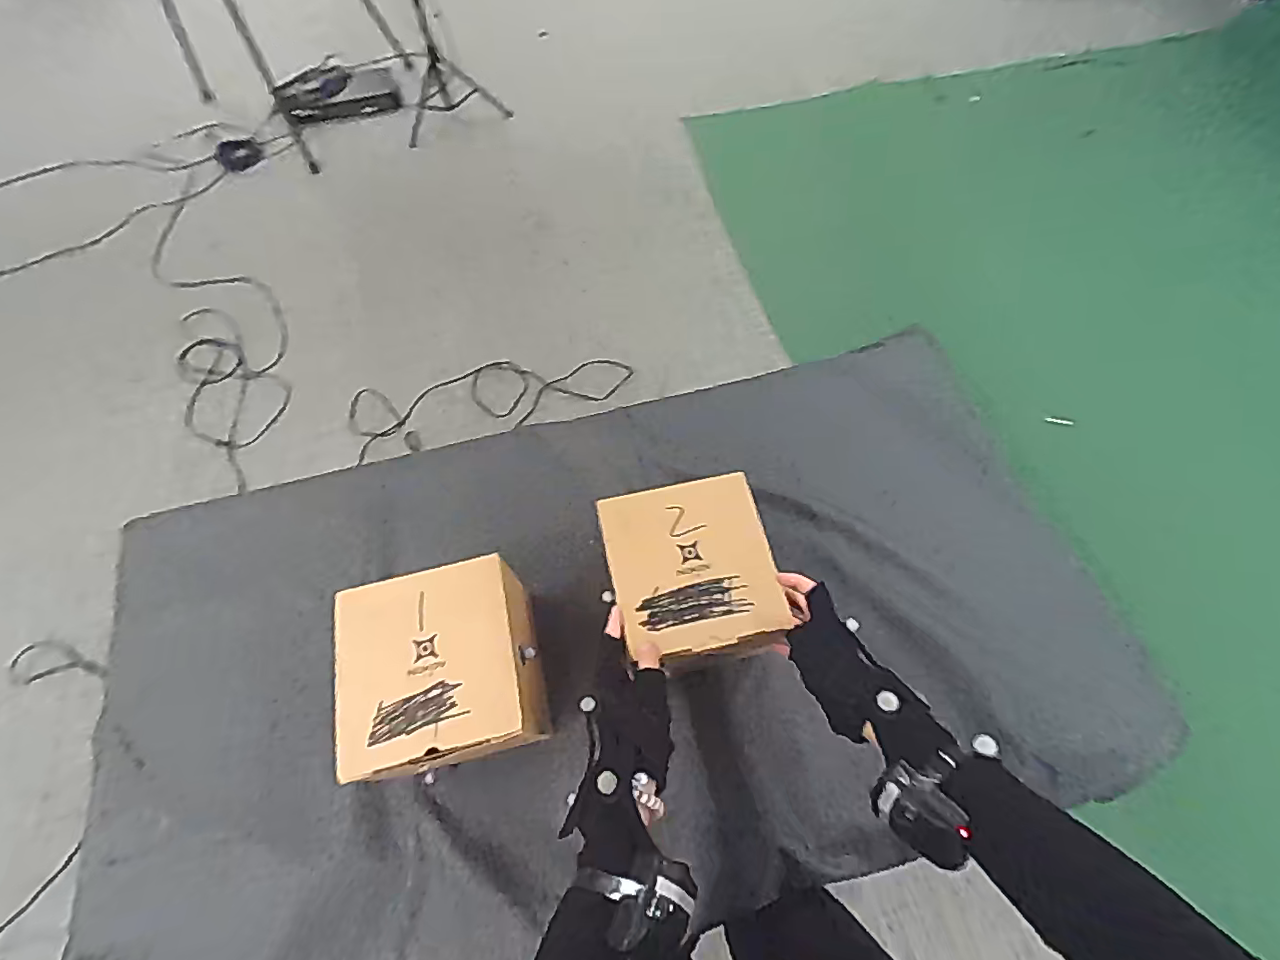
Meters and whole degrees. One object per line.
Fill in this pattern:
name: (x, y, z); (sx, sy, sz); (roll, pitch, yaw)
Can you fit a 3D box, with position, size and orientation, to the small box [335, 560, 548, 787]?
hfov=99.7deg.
small box: (-0.202, 0.208, 0.582); (0.168, 0.176, 0.179); (-13, 64, -6)
